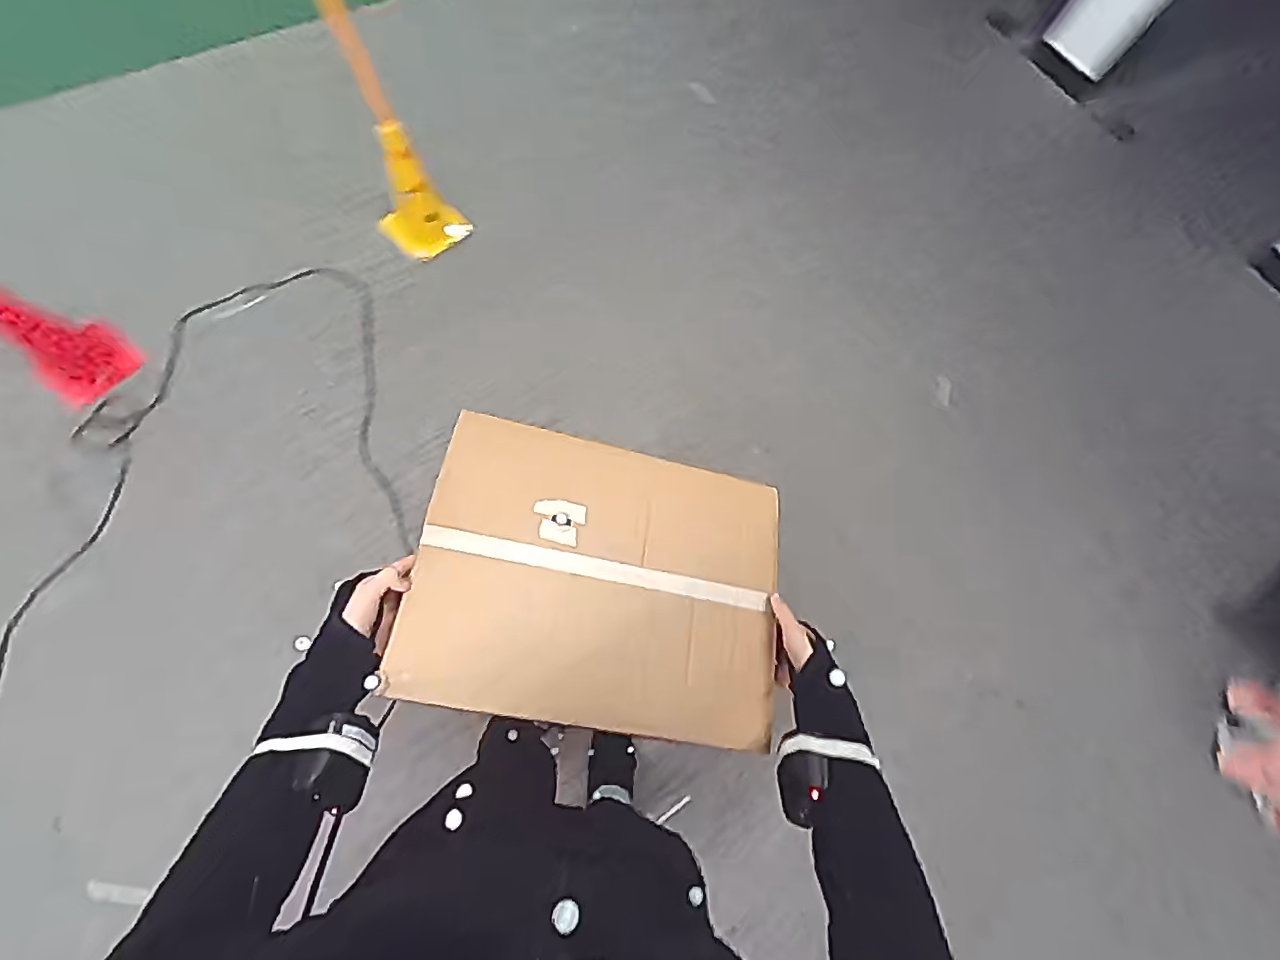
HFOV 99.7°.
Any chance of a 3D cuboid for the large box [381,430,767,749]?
[{"bbox_3d":[-0.076,0.170,0.743,0.408,0.320,0.320,12,64,-11],"label":"large box"}]
